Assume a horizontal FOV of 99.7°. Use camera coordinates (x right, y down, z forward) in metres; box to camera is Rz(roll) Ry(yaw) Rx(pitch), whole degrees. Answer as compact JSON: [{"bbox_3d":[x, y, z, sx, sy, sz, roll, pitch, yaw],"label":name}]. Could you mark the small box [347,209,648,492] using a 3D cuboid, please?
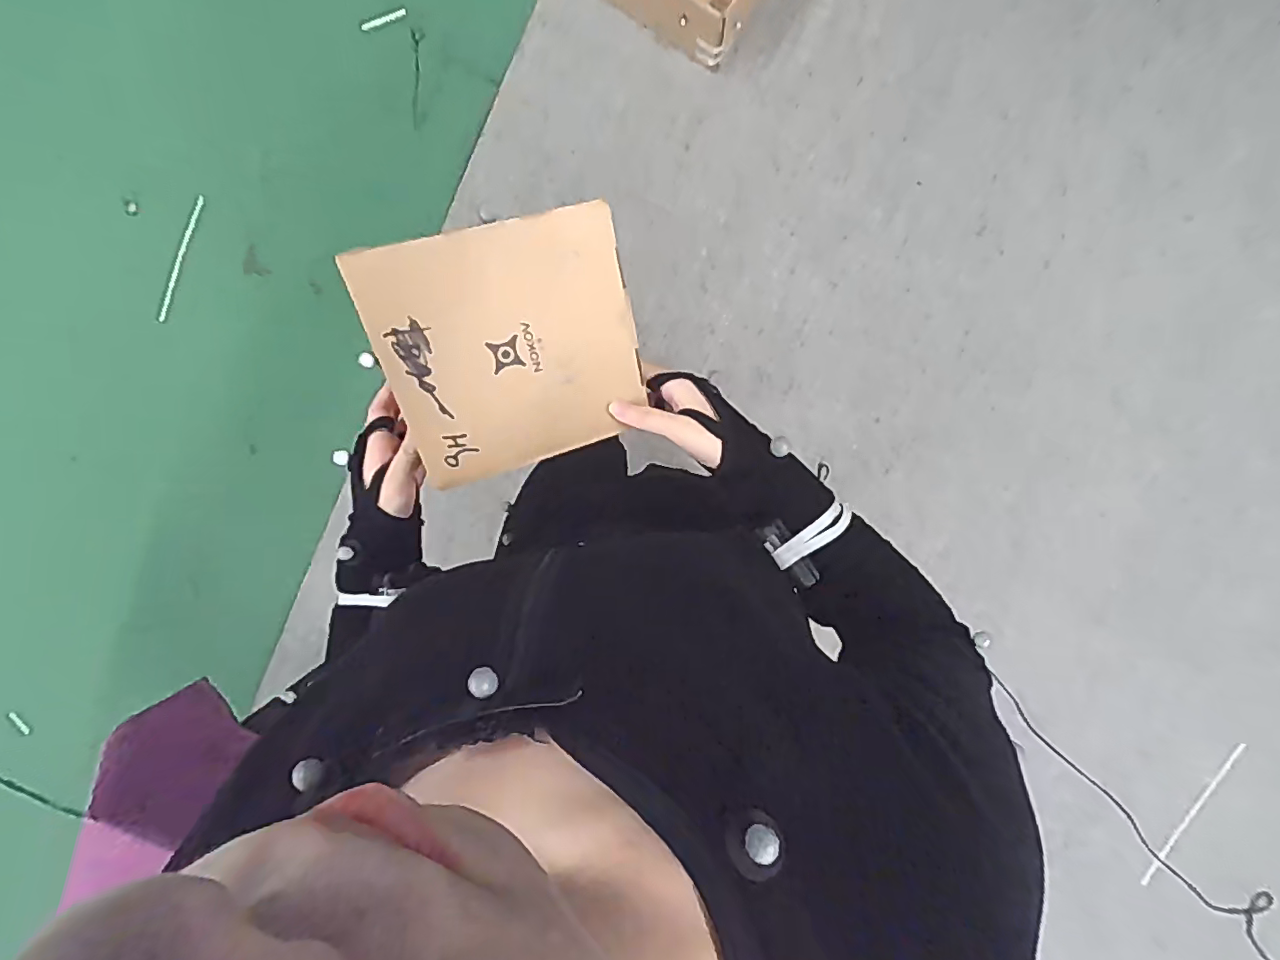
[{"bbox_3d":[-0.115,-0.118,0.446,0.179,0.176,0.168,-20,118,-15],"label":"small box"}]
